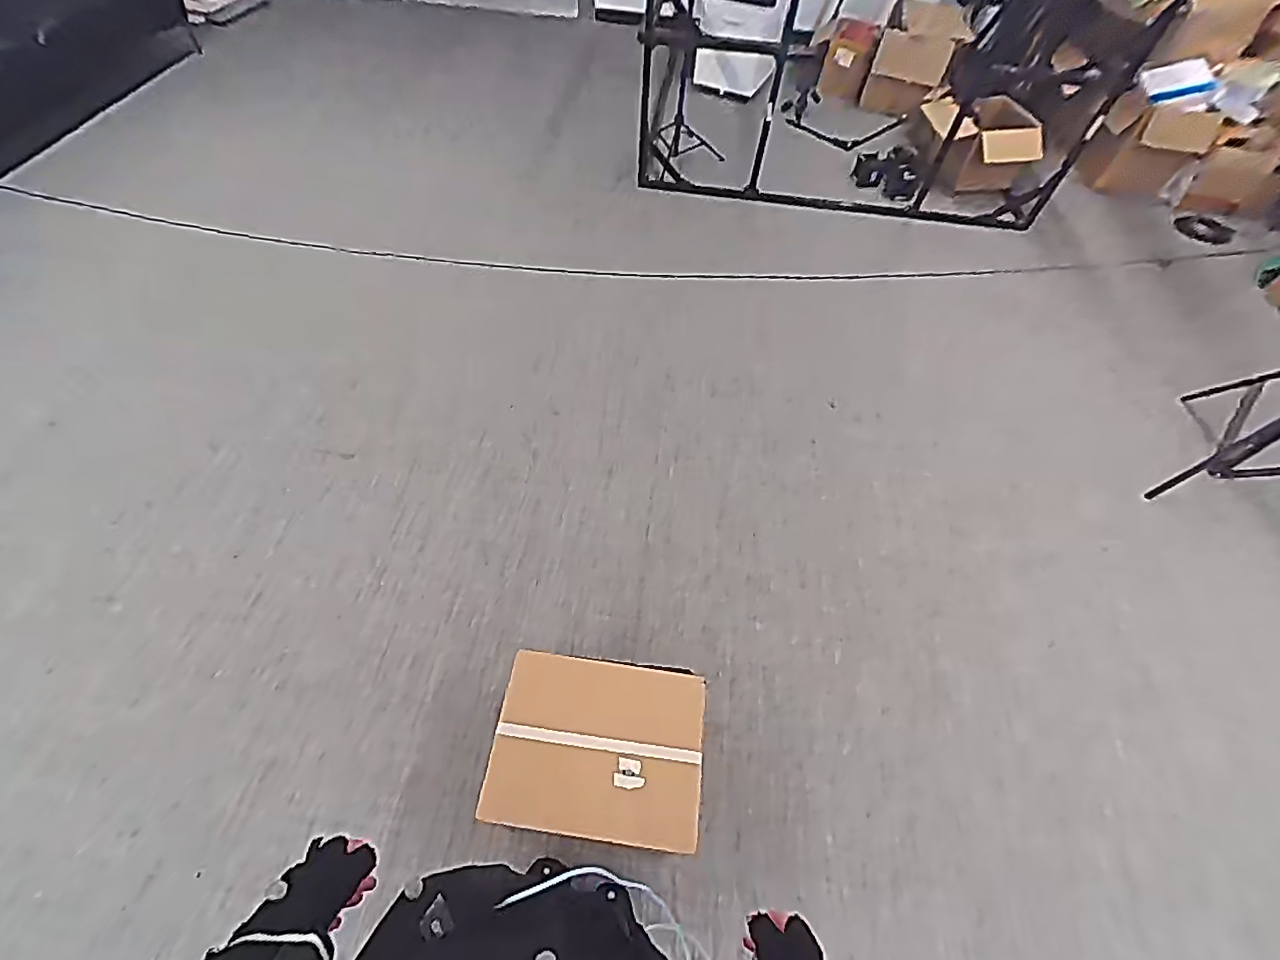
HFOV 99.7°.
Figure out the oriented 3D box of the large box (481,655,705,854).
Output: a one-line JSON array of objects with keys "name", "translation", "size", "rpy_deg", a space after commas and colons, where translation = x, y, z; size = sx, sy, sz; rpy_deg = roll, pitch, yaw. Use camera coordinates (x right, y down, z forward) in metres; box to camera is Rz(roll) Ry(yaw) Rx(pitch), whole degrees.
[{"name": "large box", "translation": [-0.089, 0.606, 1.182], "size": [0.408, 0.320, 0.320], "rpy_deg": [9, 56, 1]}]
